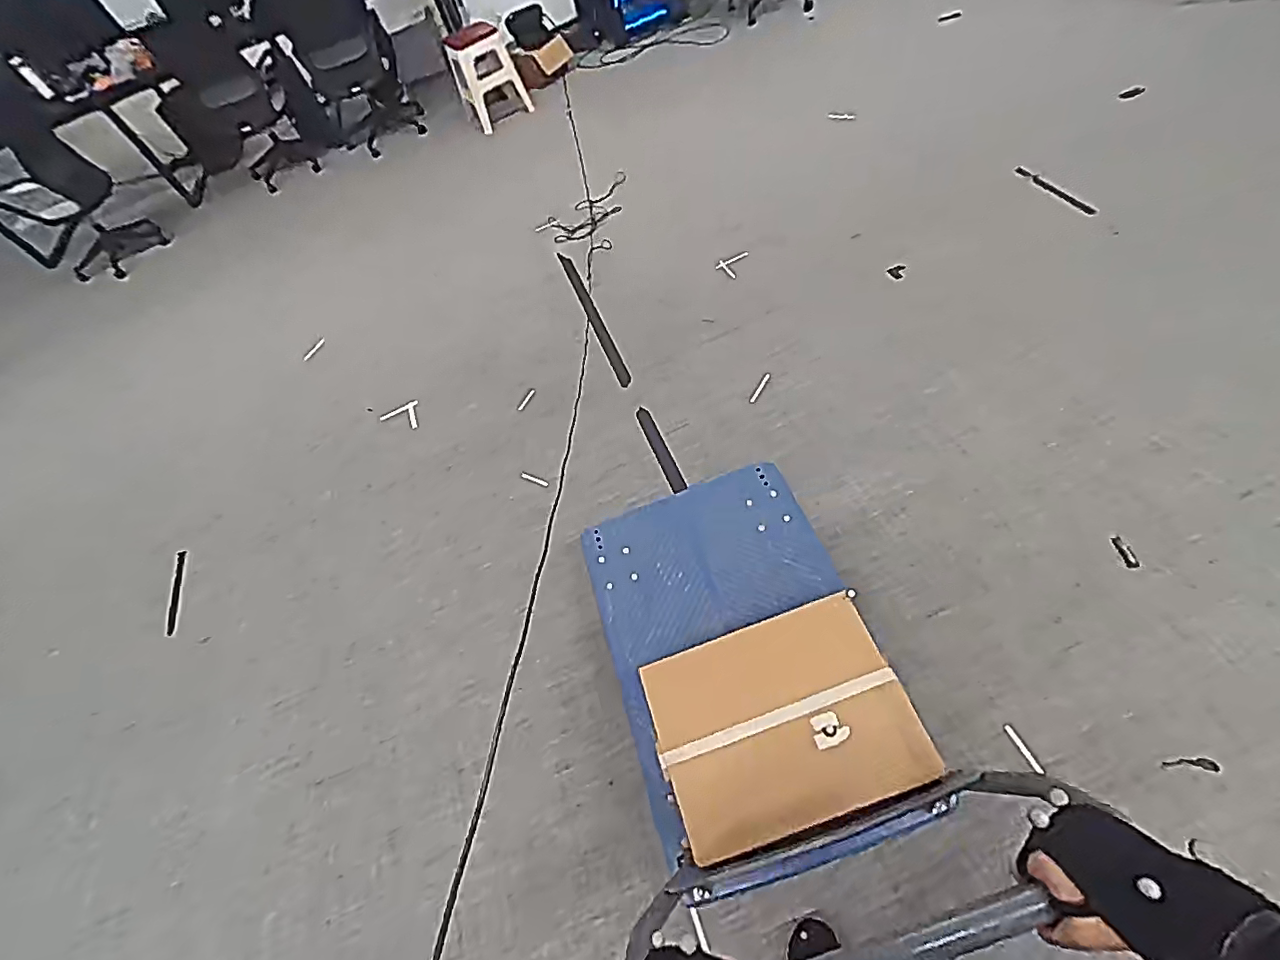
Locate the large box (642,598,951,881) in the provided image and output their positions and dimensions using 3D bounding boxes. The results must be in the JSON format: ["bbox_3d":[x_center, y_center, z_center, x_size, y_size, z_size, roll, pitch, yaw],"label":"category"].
[{"bbox_3d":[0.260,0.478,0.995,0.408,0.320,0.320,-21,56,0],"label":"large box"}]
